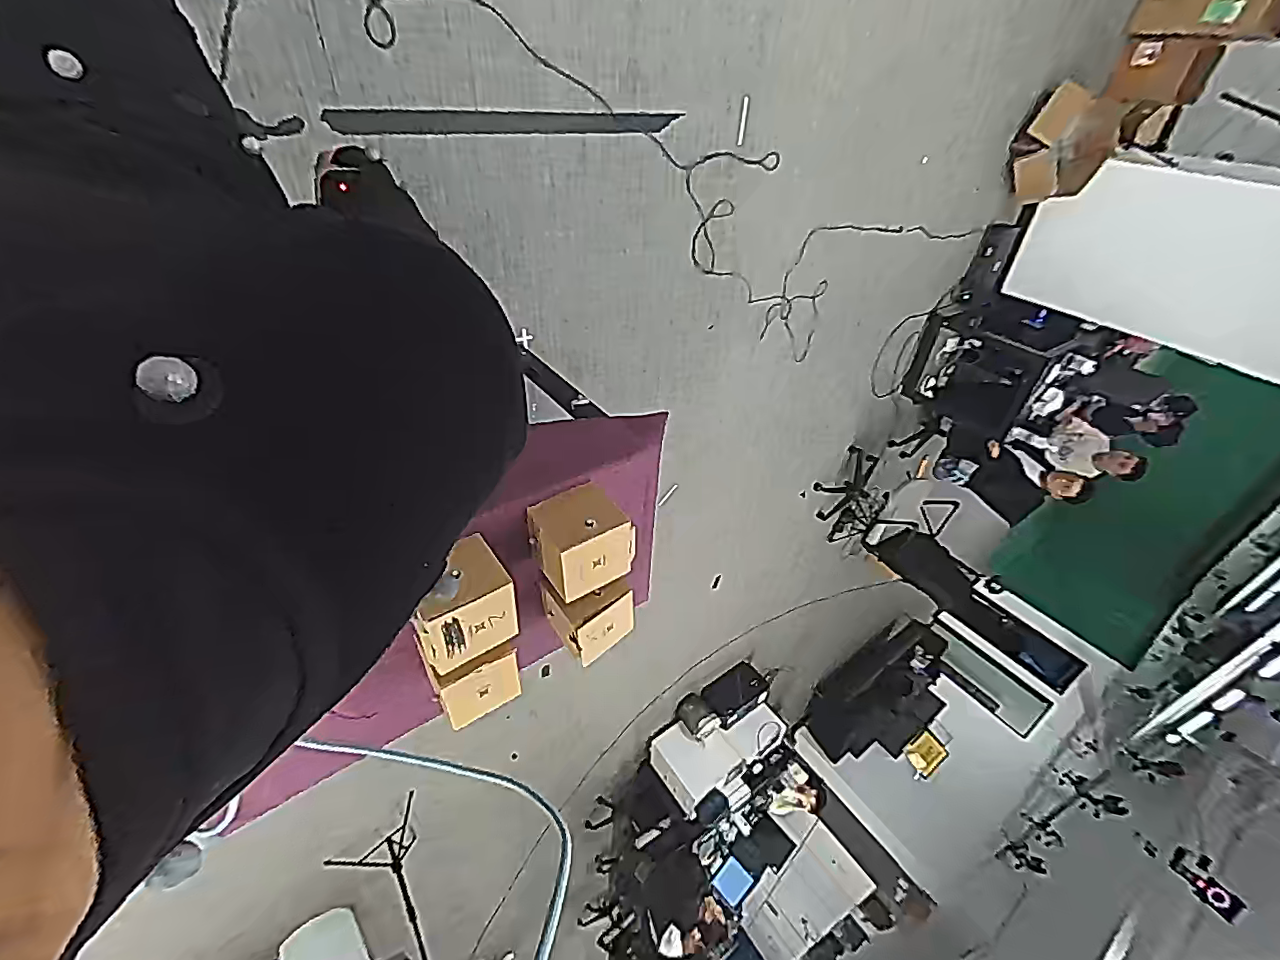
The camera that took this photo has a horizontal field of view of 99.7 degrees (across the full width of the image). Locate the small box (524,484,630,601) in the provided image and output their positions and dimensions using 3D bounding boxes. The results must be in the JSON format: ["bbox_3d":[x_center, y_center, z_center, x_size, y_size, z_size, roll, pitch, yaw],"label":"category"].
[{"bbox_3d":[-0.142,0.134,1.231,0.179,0.176,0.168,-24,136,-28],"label":"small box"}]

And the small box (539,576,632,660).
[{"bbox_3d":[-0.138,0.317,1.389,0.179,0.176,0.168,-25,136,-26],"label":"small box"}]
